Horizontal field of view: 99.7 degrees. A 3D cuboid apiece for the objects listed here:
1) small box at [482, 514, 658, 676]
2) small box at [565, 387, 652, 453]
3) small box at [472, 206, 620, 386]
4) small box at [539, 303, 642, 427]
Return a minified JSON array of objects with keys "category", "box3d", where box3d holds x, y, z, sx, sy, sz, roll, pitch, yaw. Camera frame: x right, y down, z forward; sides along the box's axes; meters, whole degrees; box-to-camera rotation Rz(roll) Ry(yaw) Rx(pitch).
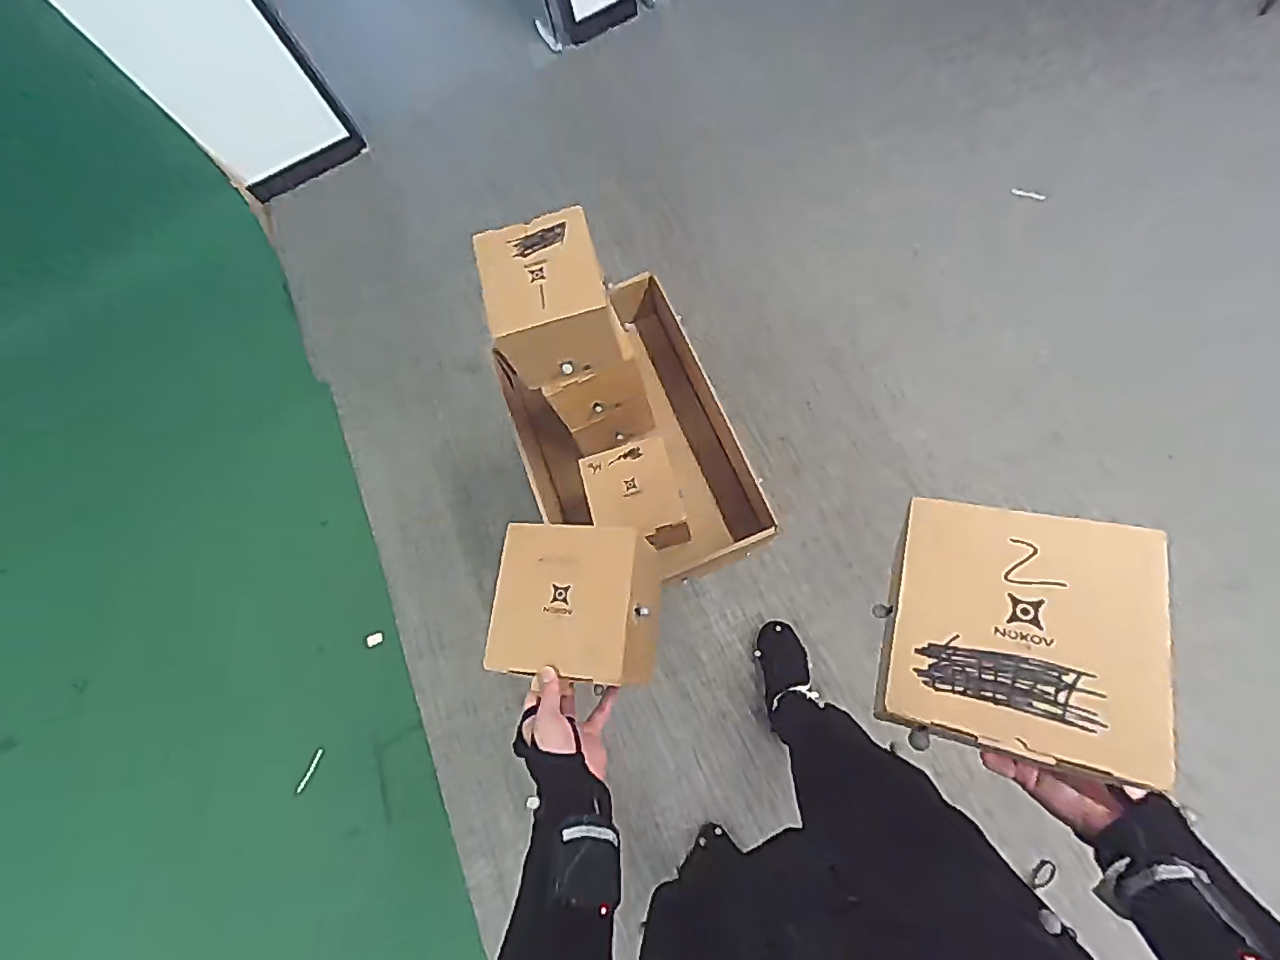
[{"category":"small box","box3d":[-0.076,0.152,0.698,0.168,0.176,0.179,2,70,14]},{"category":"small box","box3d":[-0.086,-0.183,1.140,0.168,0.176,0.179,-24,72,2]},{"category":"small box","box3d":[-0.137,-0.272,0.830,0.168,0.176,0.179,-15,74,4]},{"category":"small box","box3d":[-0.108,-0.225,0.985,0.168,0.176,0.179,-24,73,0]}]
